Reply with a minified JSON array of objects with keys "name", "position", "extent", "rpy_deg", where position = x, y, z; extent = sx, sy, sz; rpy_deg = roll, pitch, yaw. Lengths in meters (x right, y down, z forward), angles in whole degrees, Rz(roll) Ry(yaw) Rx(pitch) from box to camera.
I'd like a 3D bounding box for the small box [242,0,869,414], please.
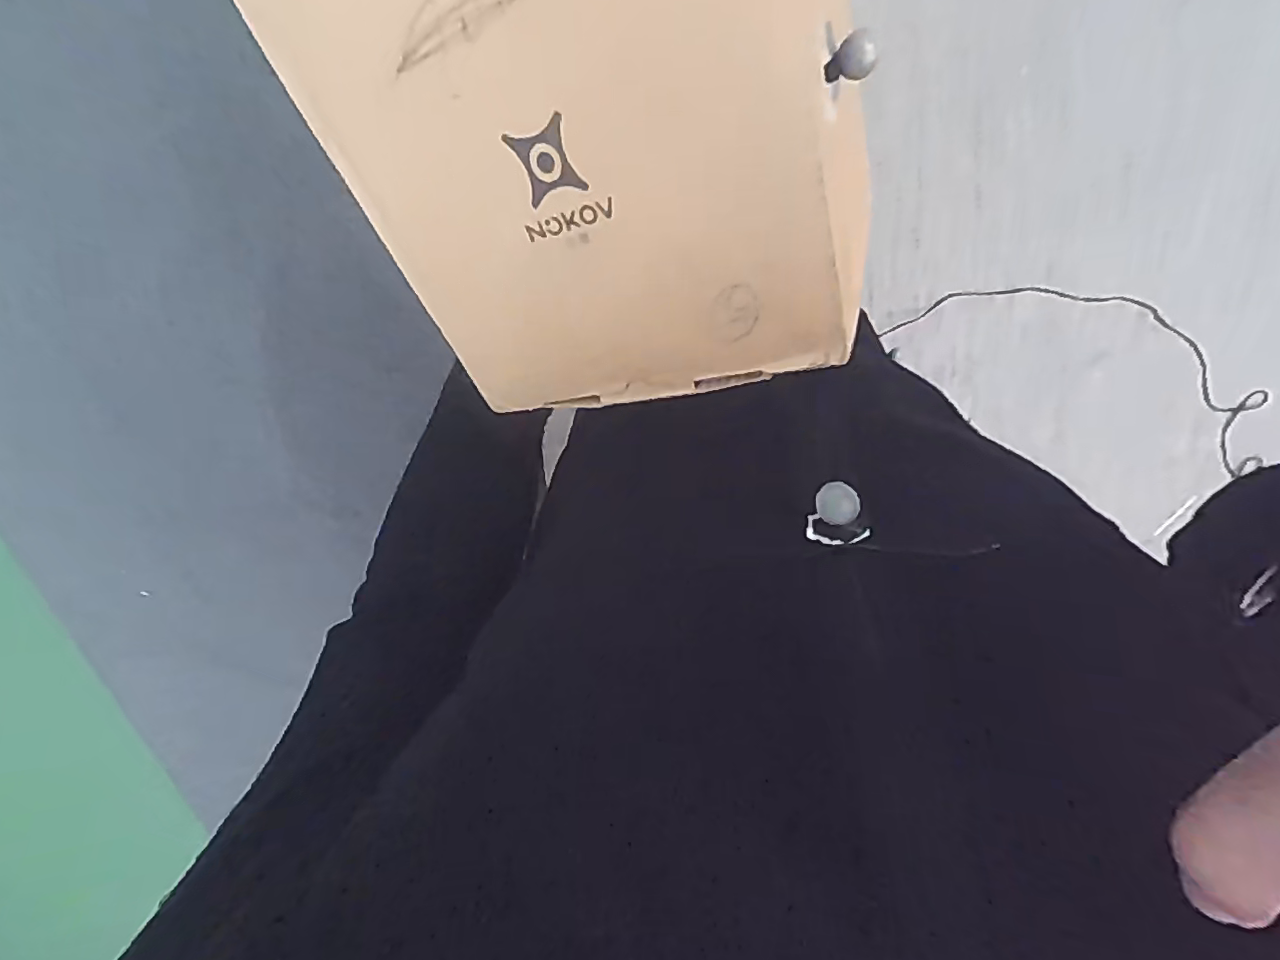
[{"name":"small box","position":[-0.001,-0.152,0.229],"extent":[0.168,0.176,0.179],"rpy_deg":[-4,130,28]}]
